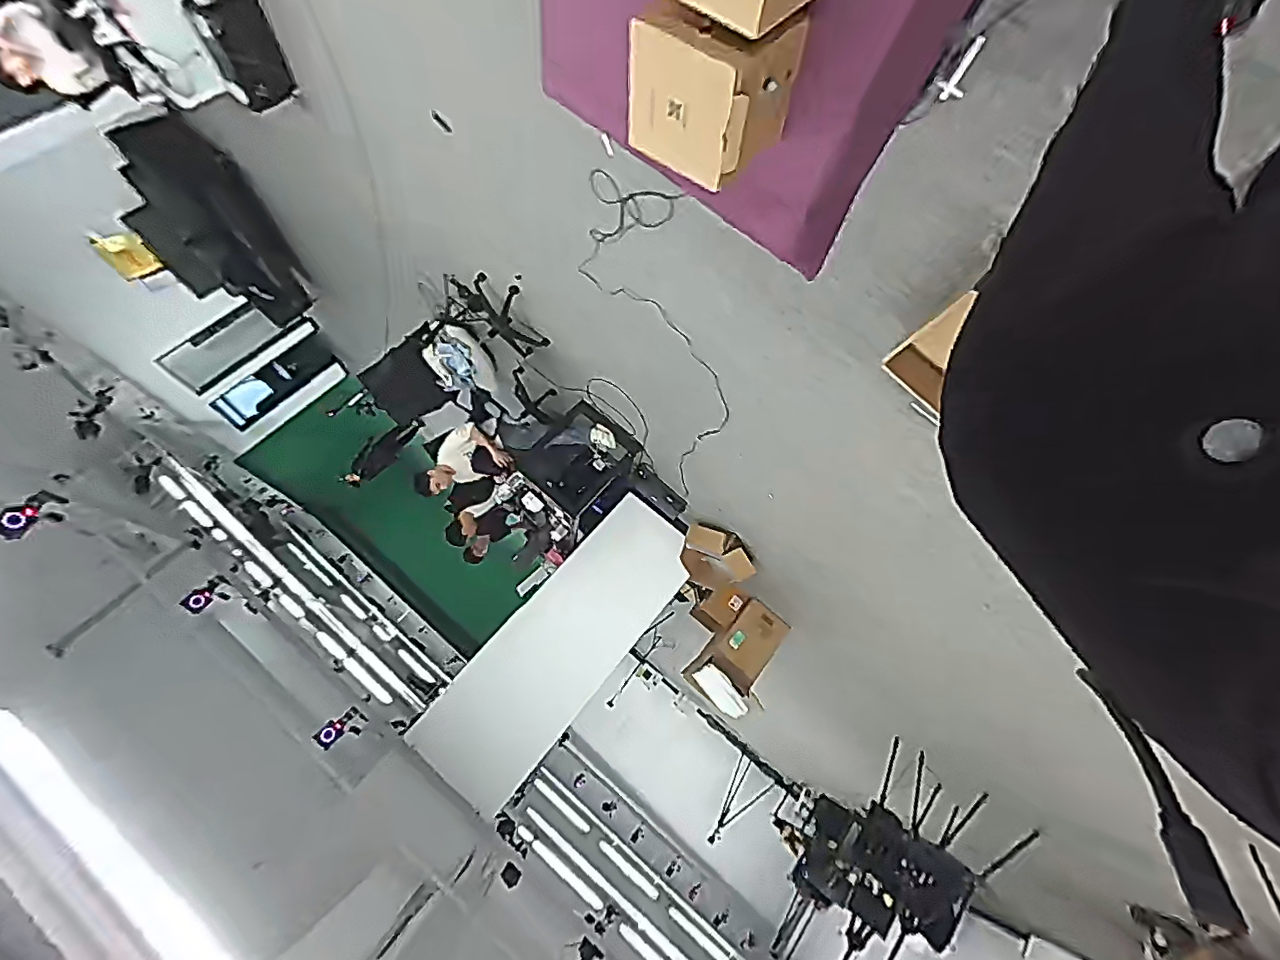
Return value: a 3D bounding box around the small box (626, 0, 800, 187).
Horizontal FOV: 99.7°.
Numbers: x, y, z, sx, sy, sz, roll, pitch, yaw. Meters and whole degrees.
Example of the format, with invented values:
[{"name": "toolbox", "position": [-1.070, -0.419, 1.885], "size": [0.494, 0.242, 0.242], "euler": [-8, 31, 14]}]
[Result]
[{"name": "small box", "position": [0.099, -0.569, 0.772], "size": [0.179, 0.176, 0.168], "euler": [37, 158, 15]}]
